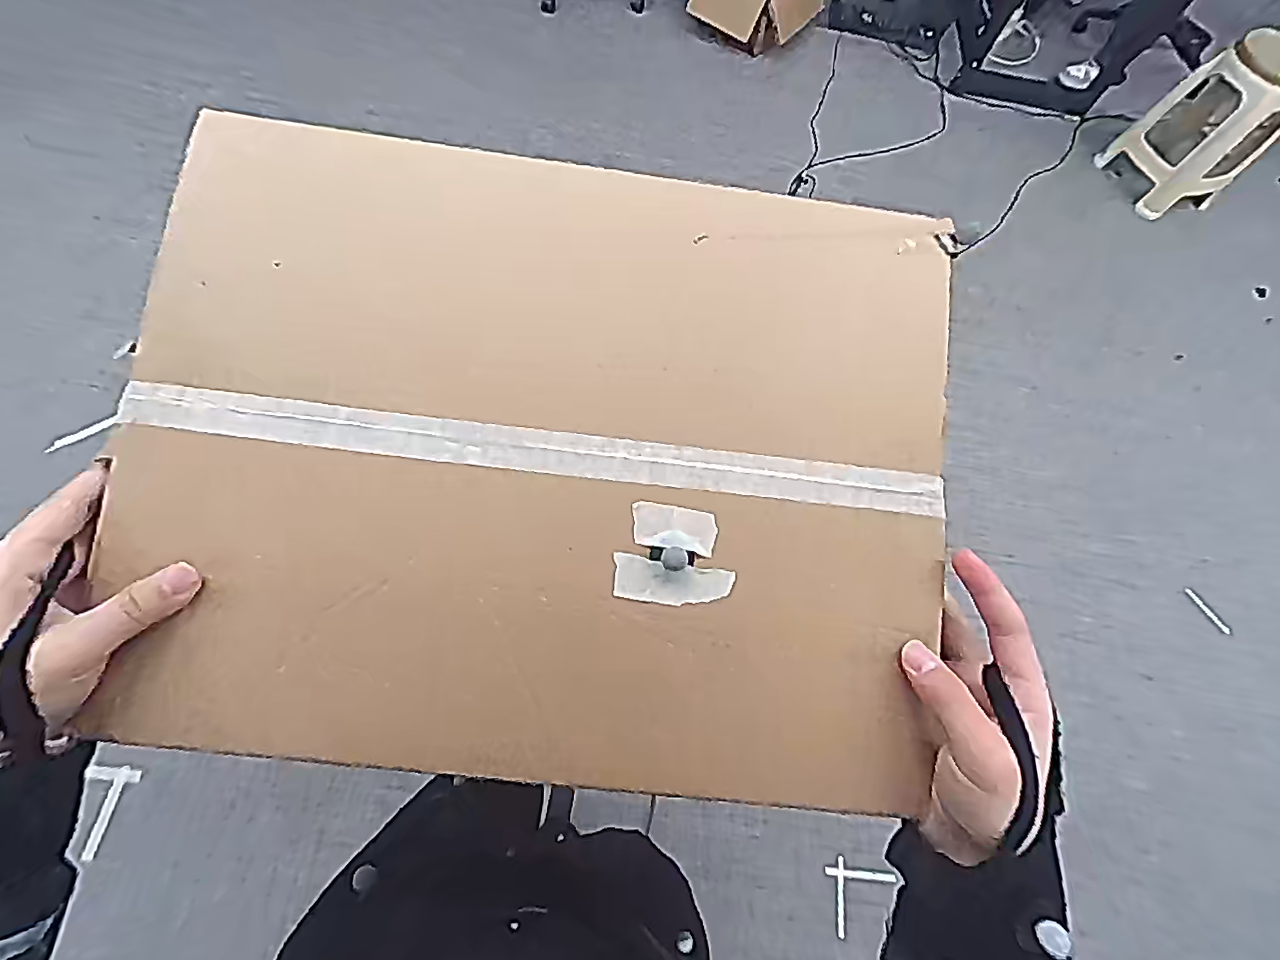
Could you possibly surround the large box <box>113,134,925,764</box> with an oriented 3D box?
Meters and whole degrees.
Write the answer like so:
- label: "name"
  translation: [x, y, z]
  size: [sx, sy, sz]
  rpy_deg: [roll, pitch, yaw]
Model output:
- label: "large box"
  translation: [-0.054, -0.004, 0.437]
  size: [0.408, 0.320, 0.320]
  rpy_deg: [7, 83, -3]
